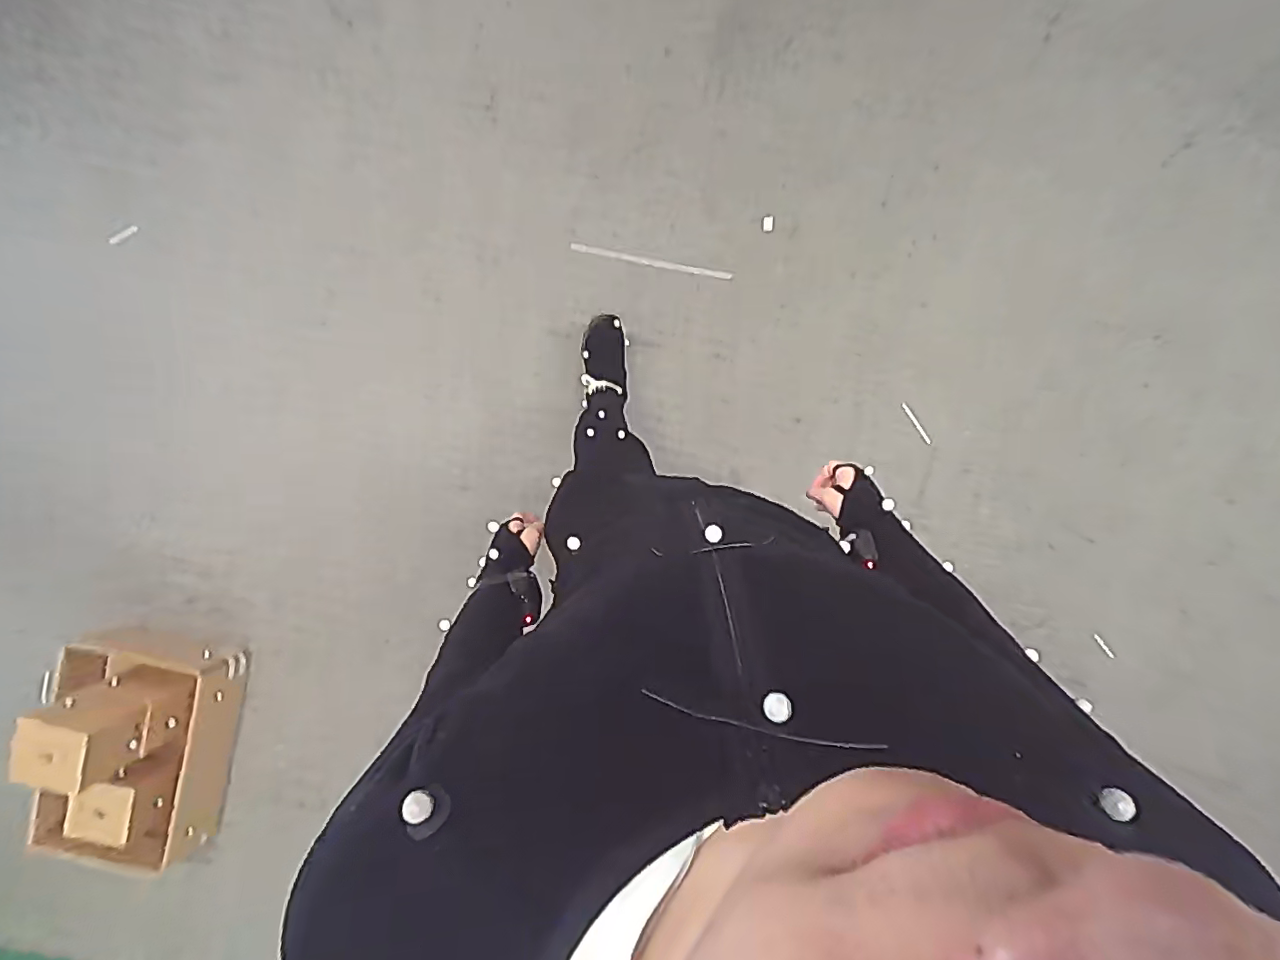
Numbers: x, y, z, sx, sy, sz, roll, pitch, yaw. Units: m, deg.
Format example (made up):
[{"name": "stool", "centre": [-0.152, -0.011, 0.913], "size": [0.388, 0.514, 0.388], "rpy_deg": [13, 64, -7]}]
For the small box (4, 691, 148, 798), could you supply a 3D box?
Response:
[{"name": "small box", "centre": [-1.418, 0.658, 1.368], "size": [0.179, 0.176, 0.168], "rpy_deg": [14, 95, -1]}]

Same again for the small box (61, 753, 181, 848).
[{"name": "small box", "centre": [-1.471, 0.903, 1.543], "size": [0.179, 0.176, 0.168], "rpy_deg": [11, 91, -1]}]

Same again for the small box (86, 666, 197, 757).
[{"name": "small box", "centre": [-1.413, 0.648, 1.532], "size": [0.179, 0.176, 0.168], "rpy_deg": [12, 93, 0]}]
